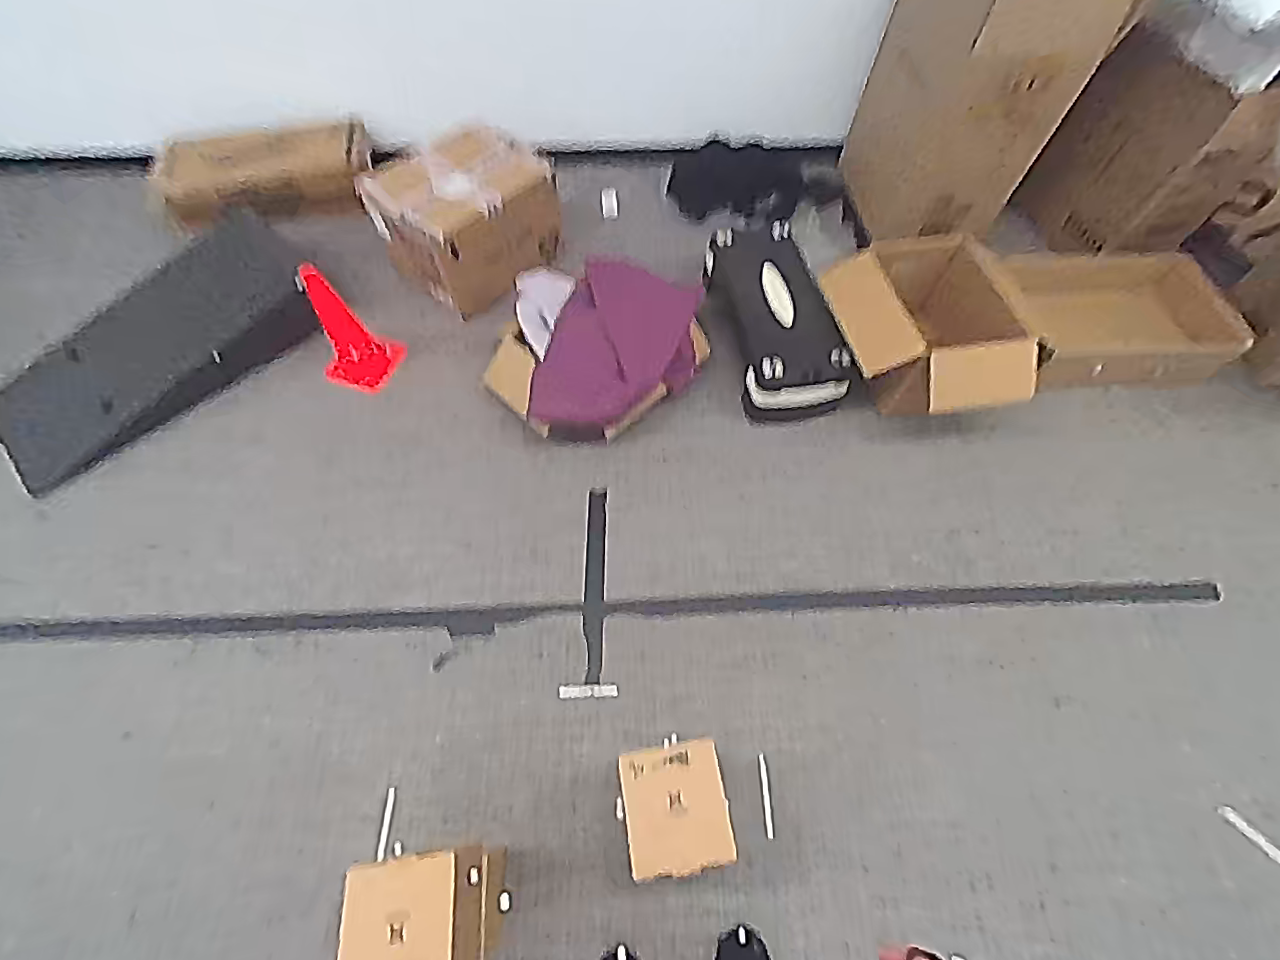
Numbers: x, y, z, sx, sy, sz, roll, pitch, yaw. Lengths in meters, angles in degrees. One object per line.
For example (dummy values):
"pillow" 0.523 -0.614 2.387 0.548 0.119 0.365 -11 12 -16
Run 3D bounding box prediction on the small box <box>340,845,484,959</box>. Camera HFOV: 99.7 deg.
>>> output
"small box" -0.352 0.699 0.863 0.168 0.176 0.179 -7 62 -3

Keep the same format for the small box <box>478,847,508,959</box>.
"small box" -0.352 0.790 0.998 0.179 0.176 0.168 -3 60 -3

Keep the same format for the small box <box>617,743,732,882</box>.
"small box" 0.054 0.567 0.941 0.168 0.176 0.179 -7 61 -5
